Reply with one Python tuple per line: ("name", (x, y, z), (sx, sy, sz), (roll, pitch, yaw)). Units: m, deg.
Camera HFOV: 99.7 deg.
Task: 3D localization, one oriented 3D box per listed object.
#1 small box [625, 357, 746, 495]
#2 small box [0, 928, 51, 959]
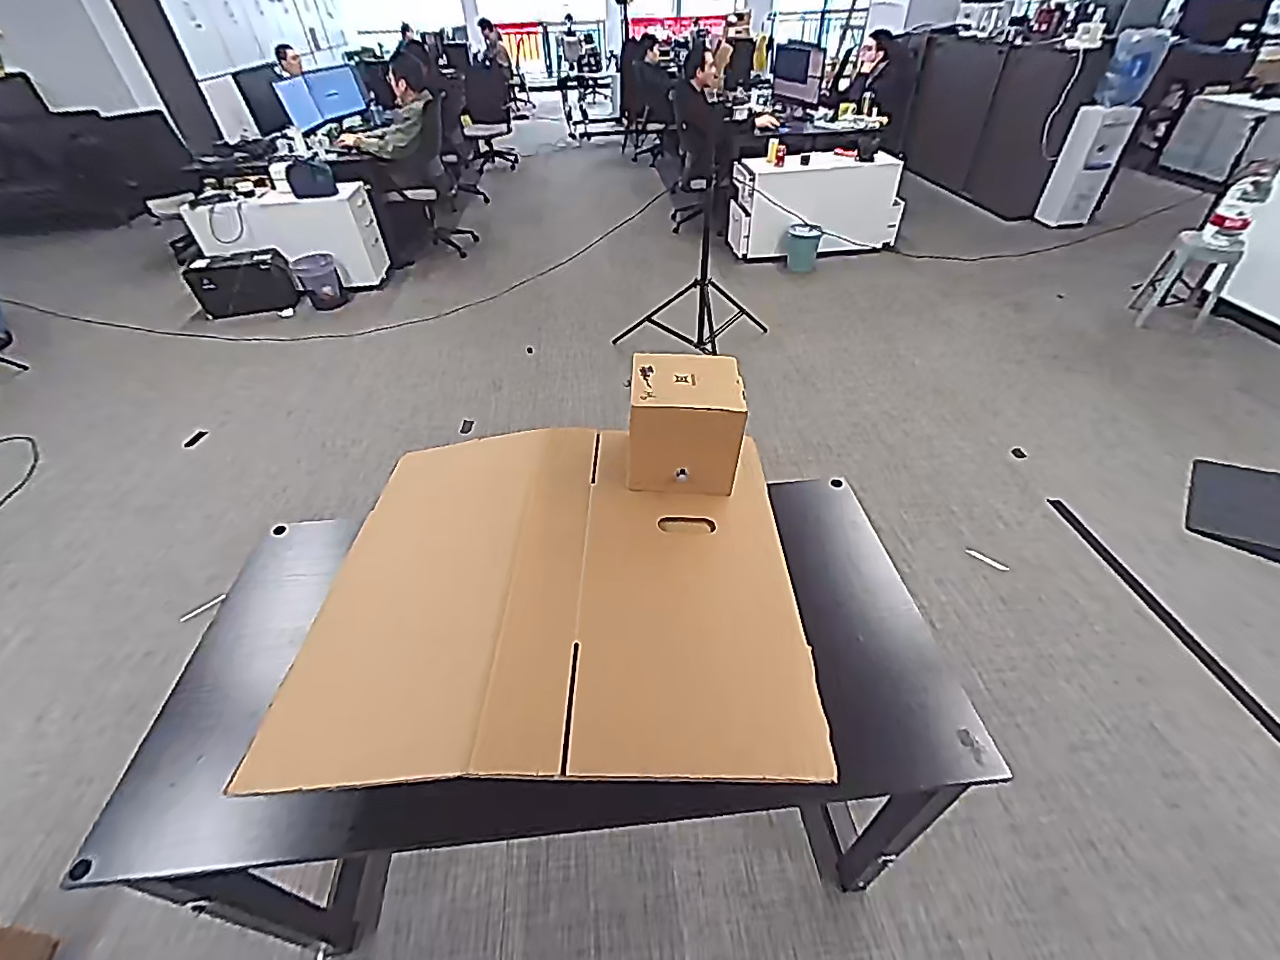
("small box", (0.069, -0.089, 0.909), (0.179, 0.176, 0.168), (3, 40, -1))
("small box", (-1.350, 1.030, 1.071), (0.168, 0.176, 0.179), (-8, 43, -6))
